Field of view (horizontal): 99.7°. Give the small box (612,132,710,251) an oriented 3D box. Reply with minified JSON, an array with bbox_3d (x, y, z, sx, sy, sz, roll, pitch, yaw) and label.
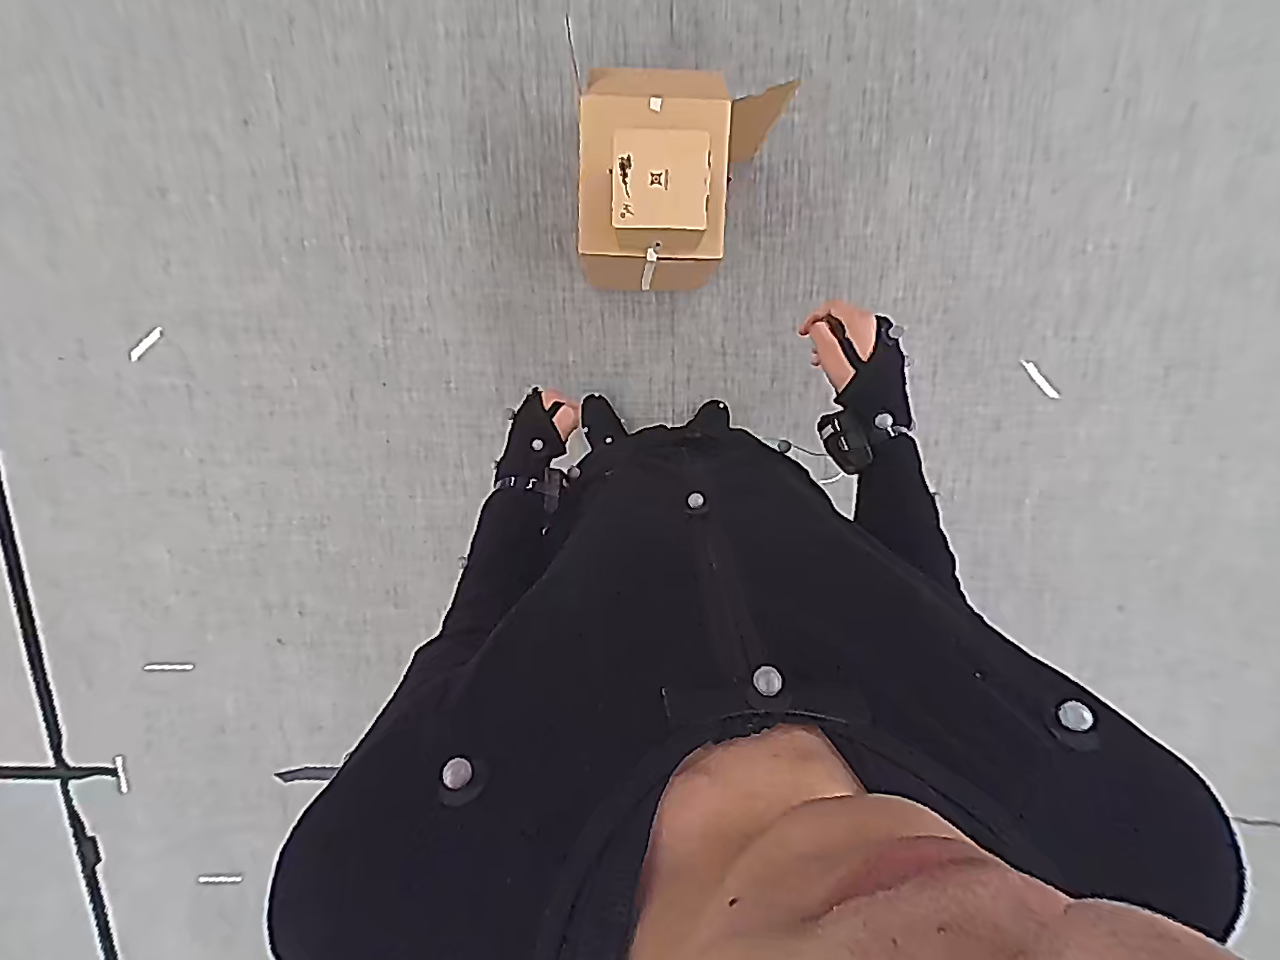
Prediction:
[{"bbox_3d":[0.035,-0.555,1.062,0.179,0.176,0.168,2,102,-1],"label":"small box"}]
